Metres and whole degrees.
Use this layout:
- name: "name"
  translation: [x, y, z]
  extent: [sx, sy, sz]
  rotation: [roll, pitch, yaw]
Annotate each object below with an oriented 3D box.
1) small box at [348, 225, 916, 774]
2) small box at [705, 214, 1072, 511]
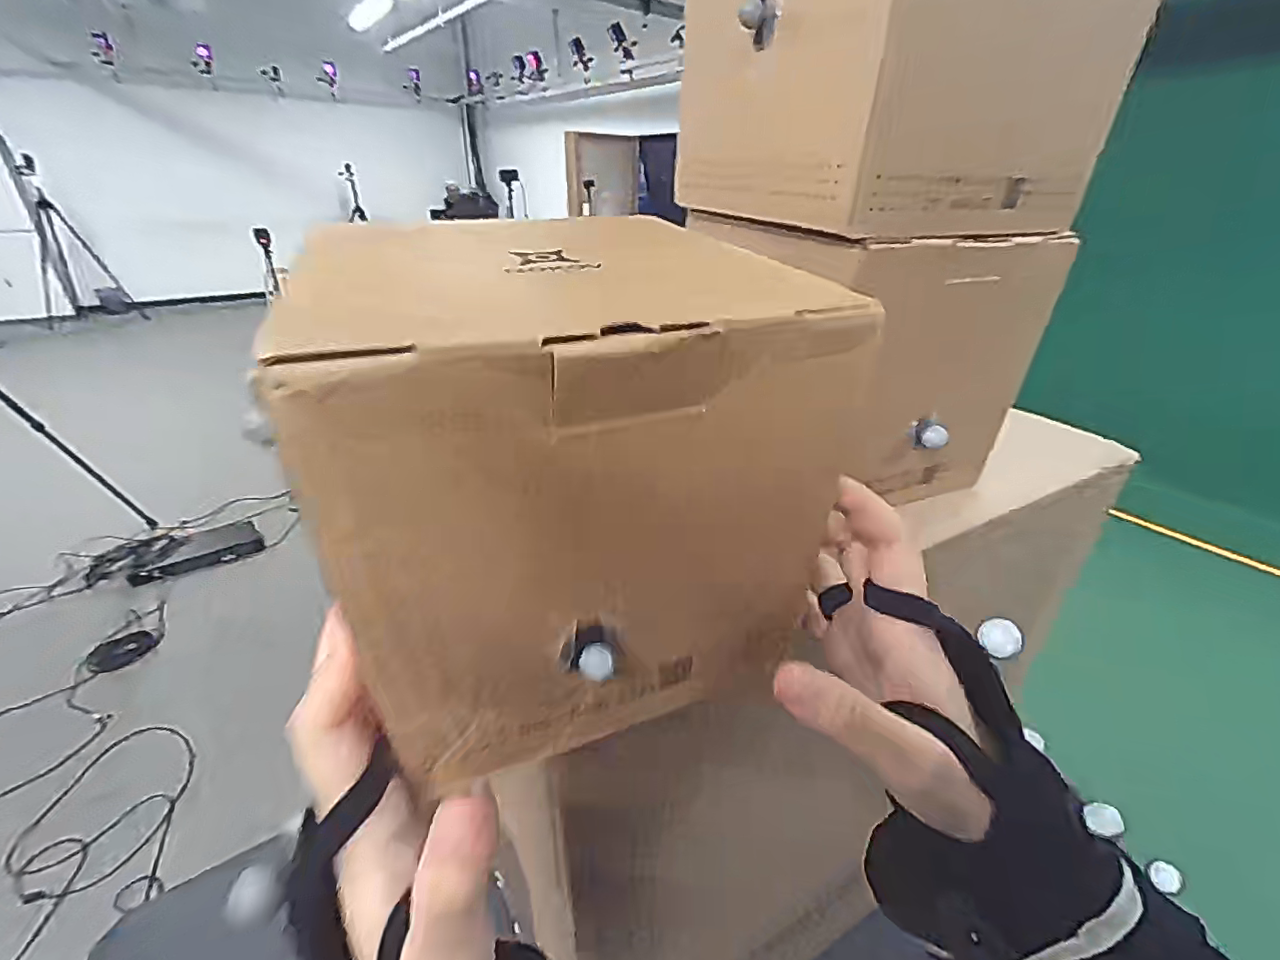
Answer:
- name: "small box"
  translation: [-0.025, -0.011, 0.249]
  extent: [0.168, 0.176, 0.179]
  rotation: [-11, 37, -21]
- name: "small box"
  translation: [0.149, -0.095, 0.402]
  extent: [0.168, 0.176, 0.179]
  rotation: [-11, 34, -22]
